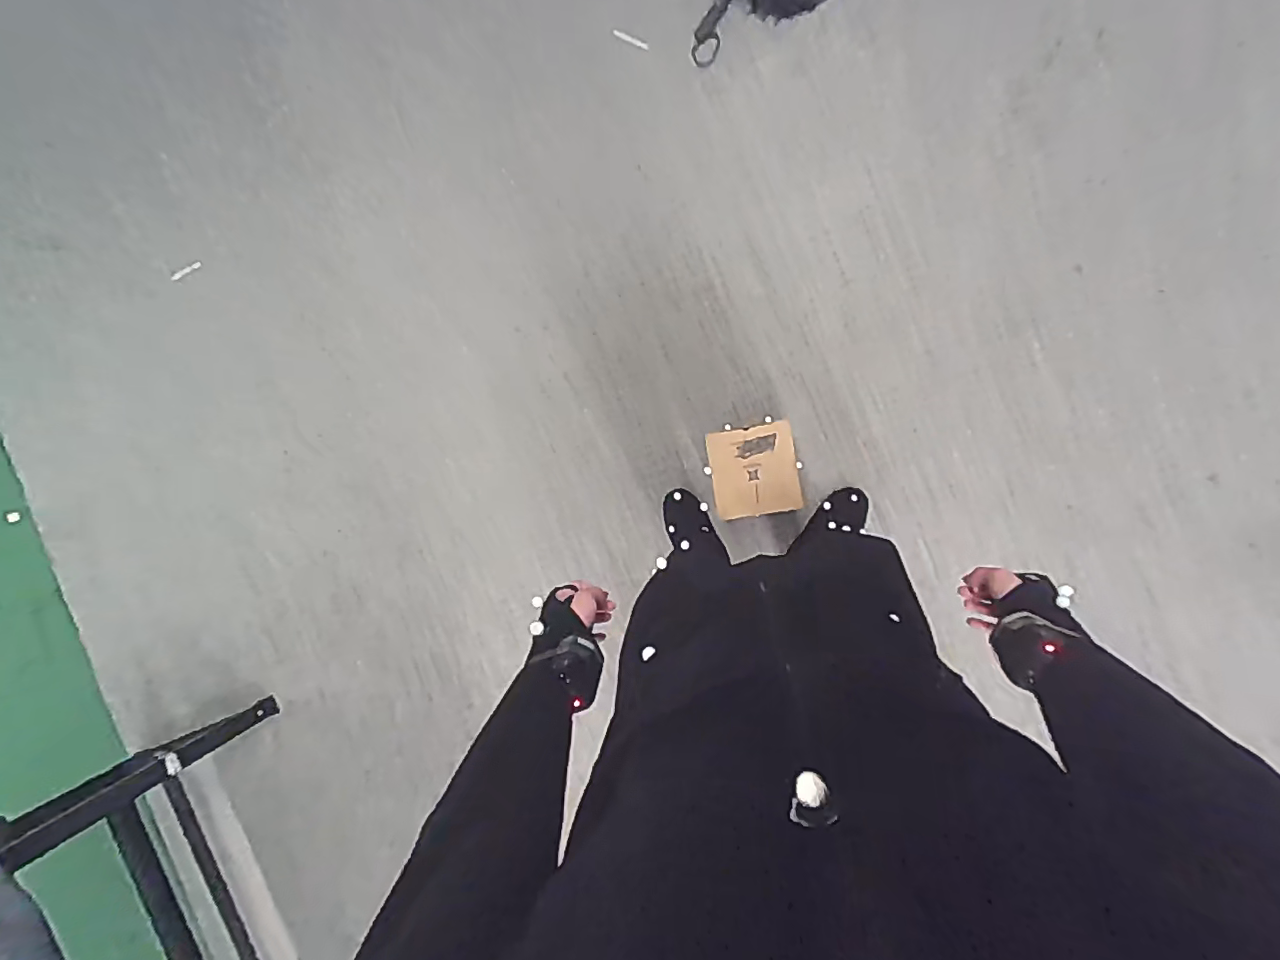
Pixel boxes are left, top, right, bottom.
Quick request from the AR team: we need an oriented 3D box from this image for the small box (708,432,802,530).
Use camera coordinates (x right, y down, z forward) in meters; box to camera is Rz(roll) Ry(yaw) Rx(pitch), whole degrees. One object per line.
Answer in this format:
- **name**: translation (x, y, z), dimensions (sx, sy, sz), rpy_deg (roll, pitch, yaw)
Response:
- **small box**: translation (0.237, -0.002, 1.134), dimensions (0.168, 0.176, 0.179), rpy_deg (-8, 93, 11)
